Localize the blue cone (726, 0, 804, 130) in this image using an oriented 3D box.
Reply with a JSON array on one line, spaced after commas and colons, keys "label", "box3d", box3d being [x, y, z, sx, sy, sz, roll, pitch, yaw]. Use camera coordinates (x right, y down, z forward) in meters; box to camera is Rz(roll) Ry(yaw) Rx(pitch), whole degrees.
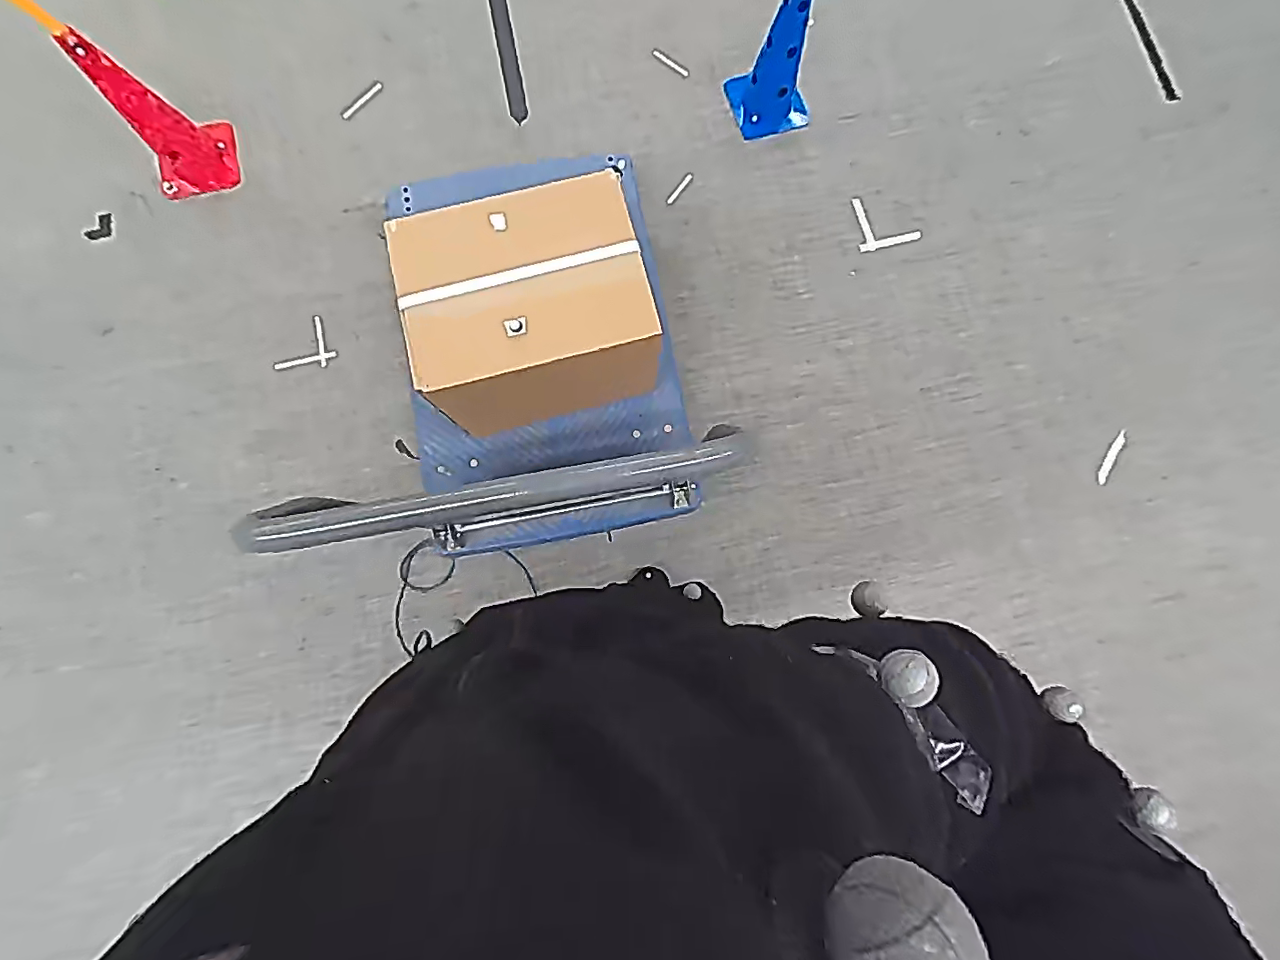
[{"label": "blue cone", "box3d": [0.355, -1.094, 1.343, 0.193, 0.380, 0.192, -16, 81, -4]}]
